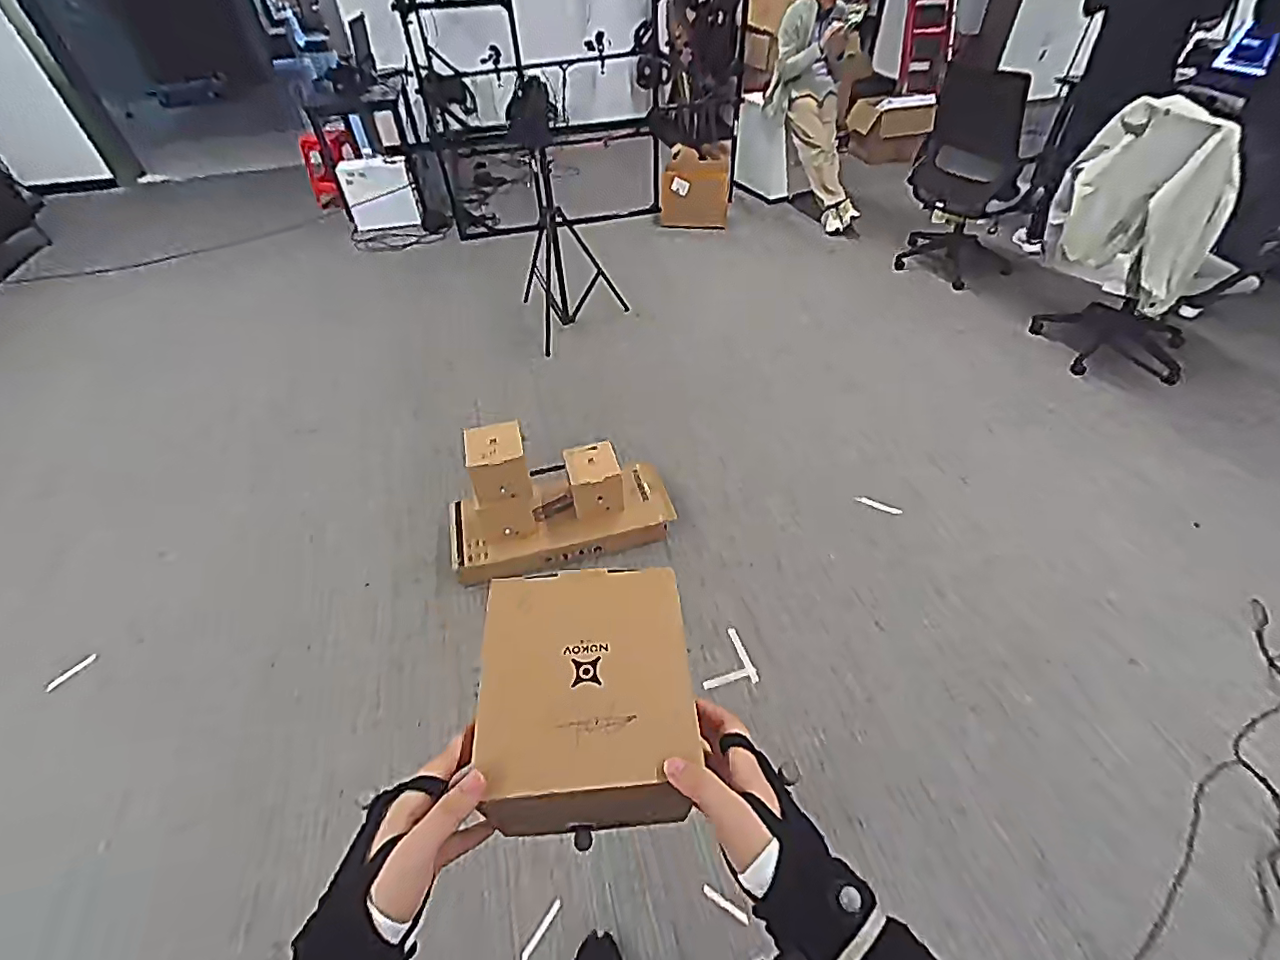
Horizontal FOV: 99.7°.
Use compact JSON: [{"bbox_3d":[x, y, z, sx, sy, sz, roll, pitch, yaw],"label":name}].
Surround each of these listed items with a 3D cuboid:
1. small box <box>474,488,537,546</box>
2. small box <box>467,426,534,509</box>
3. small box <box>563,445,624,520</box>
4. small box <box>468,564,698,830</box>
[{"bbox_3d":[-0.440,0.088,1.765,0.168,0.176,0.179,-13,47,-11],"label":"small box"},{"bbox_3d":[-0.428,-0.038,1.657,0.168,0.176,0.179,-12,46,-10],"label":"small box"},{"bbox_3d":[-0.154,0.015,1.823,0.168,0.176,0.179,-14,46,-10],"label":"small box"},{"bbox_3d":[-0.047,0.197,0.494,0.168,0.176,0.179,-3,49,-4],"label":"small box"}]
